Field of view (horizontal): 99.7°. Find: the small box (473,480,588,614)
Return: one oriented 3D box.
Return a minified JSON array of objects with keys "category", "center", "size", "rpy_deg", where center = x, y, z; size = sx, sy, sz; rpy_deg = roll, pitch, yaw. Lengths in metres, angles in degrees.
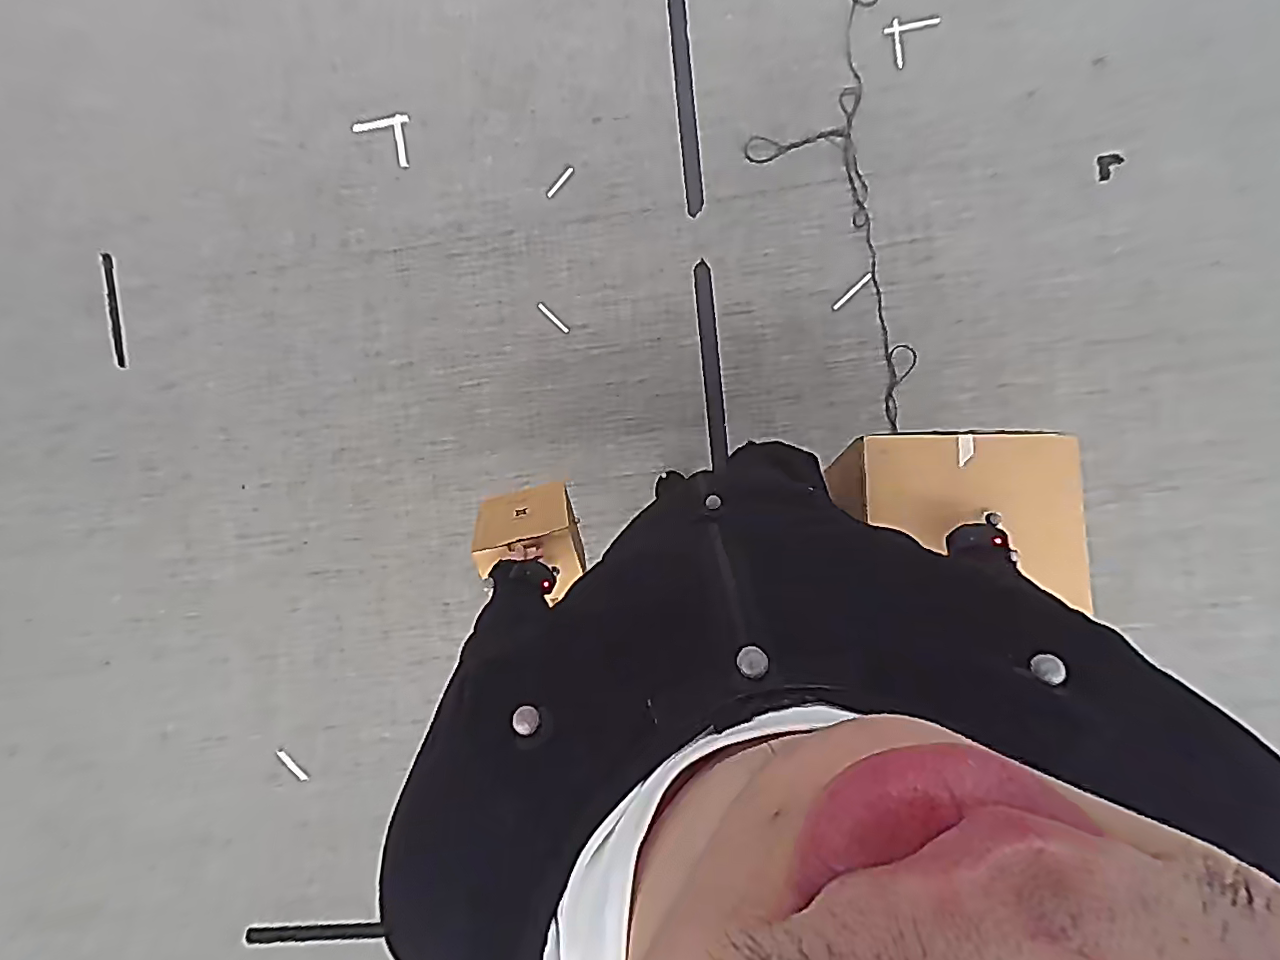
[{"category":"small box","center":[-0.199,0.128,1.005],"size":[0.168,0.179,0.176],"rpy_deg":[-13,119,-5]}]
